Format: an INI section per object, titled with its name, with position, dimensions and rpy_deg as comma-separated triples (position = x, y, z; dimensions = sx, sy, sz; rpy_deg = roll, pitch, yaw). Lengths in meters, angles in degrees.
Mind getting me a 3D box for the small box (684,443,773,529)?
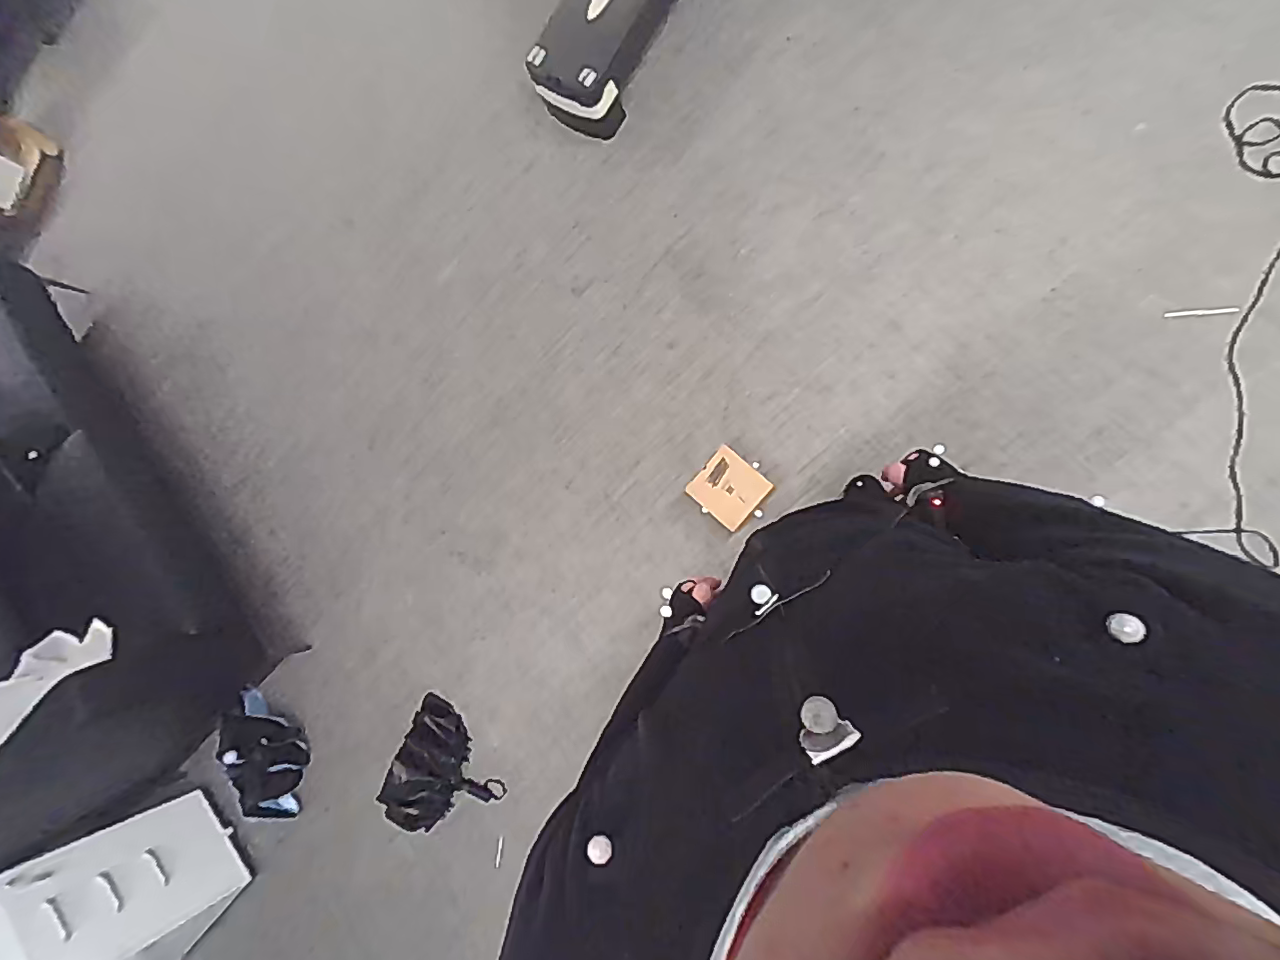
[small box]
position = 0.252, 0.022, 1.510
dimensions = 0.179, 0.176, 0.168
rpy_deg = 42, 99, 15
